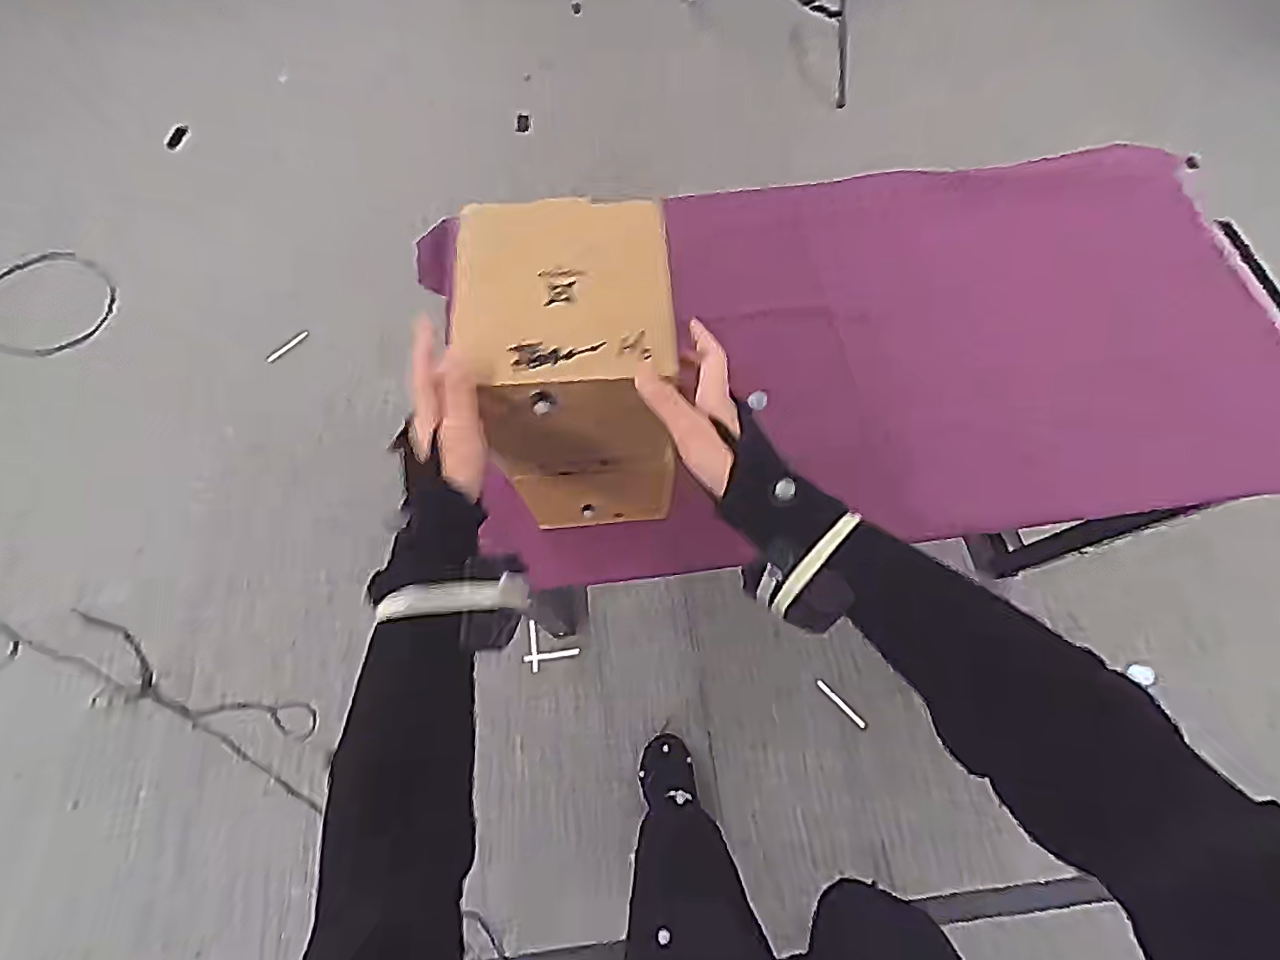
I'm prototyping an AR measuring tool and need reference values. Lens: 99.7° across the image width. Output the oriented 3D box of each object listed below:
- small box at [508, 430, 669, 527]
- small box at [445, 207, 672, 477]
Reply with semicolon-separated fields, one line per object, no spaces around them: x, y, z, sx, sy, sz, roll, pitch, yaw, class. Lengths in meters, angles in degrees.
-0.059;-0.056;0.646;0.168;0.176;0.179;-5;68;-2;small box
-0.063;-0.116;0.493;0.168;0.176;0.179;-3;68;-1;small box
